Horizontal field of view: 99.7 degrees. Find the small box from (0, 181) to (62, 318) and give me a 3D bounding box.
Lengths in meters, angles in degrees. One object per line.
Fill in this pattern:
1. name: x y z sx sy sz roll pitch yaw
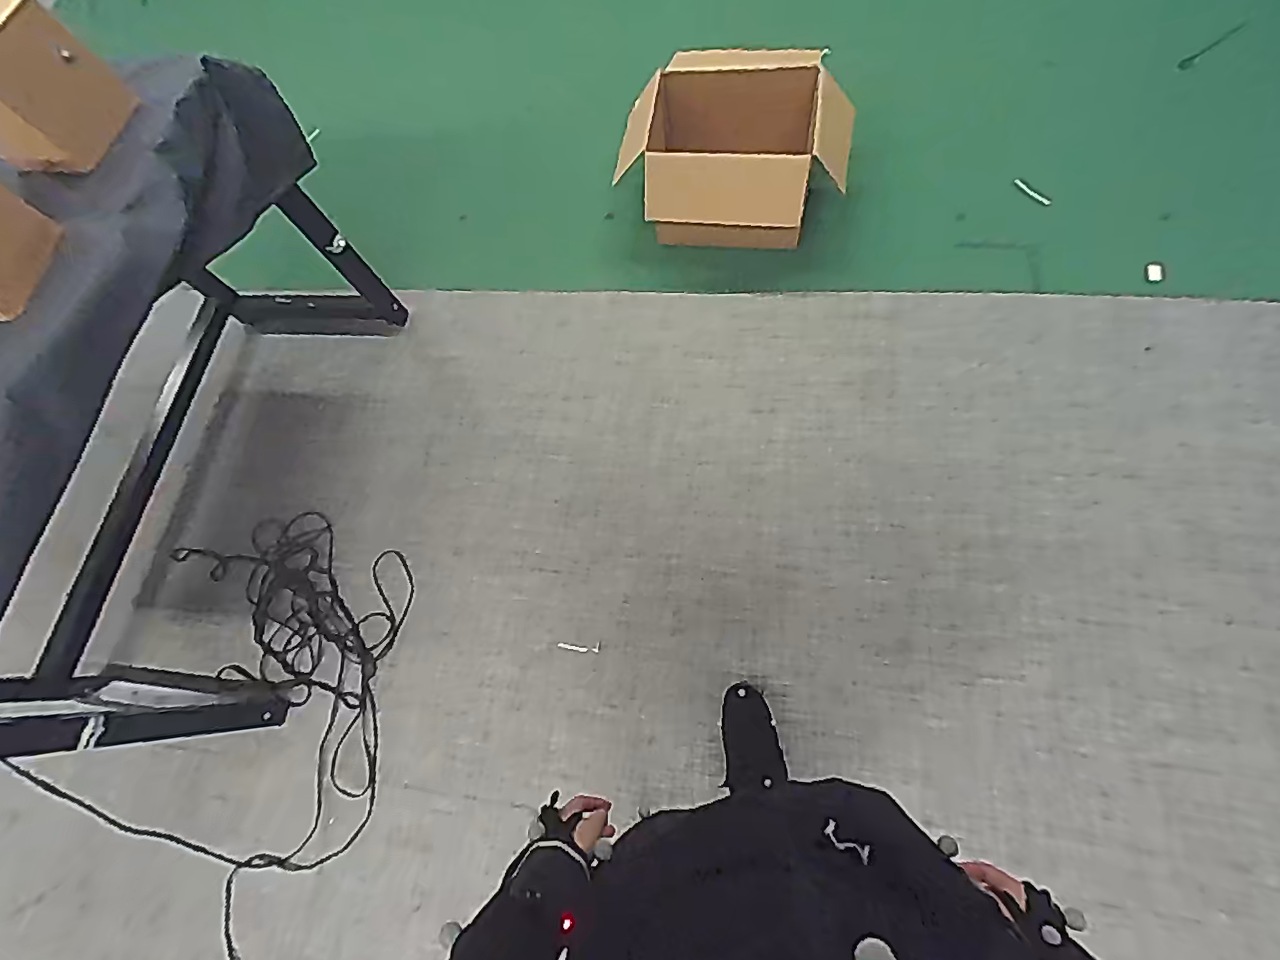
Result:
1. small box: -1.015 -0.358 0.782 0.168 0.176 0.179 1 71 9
